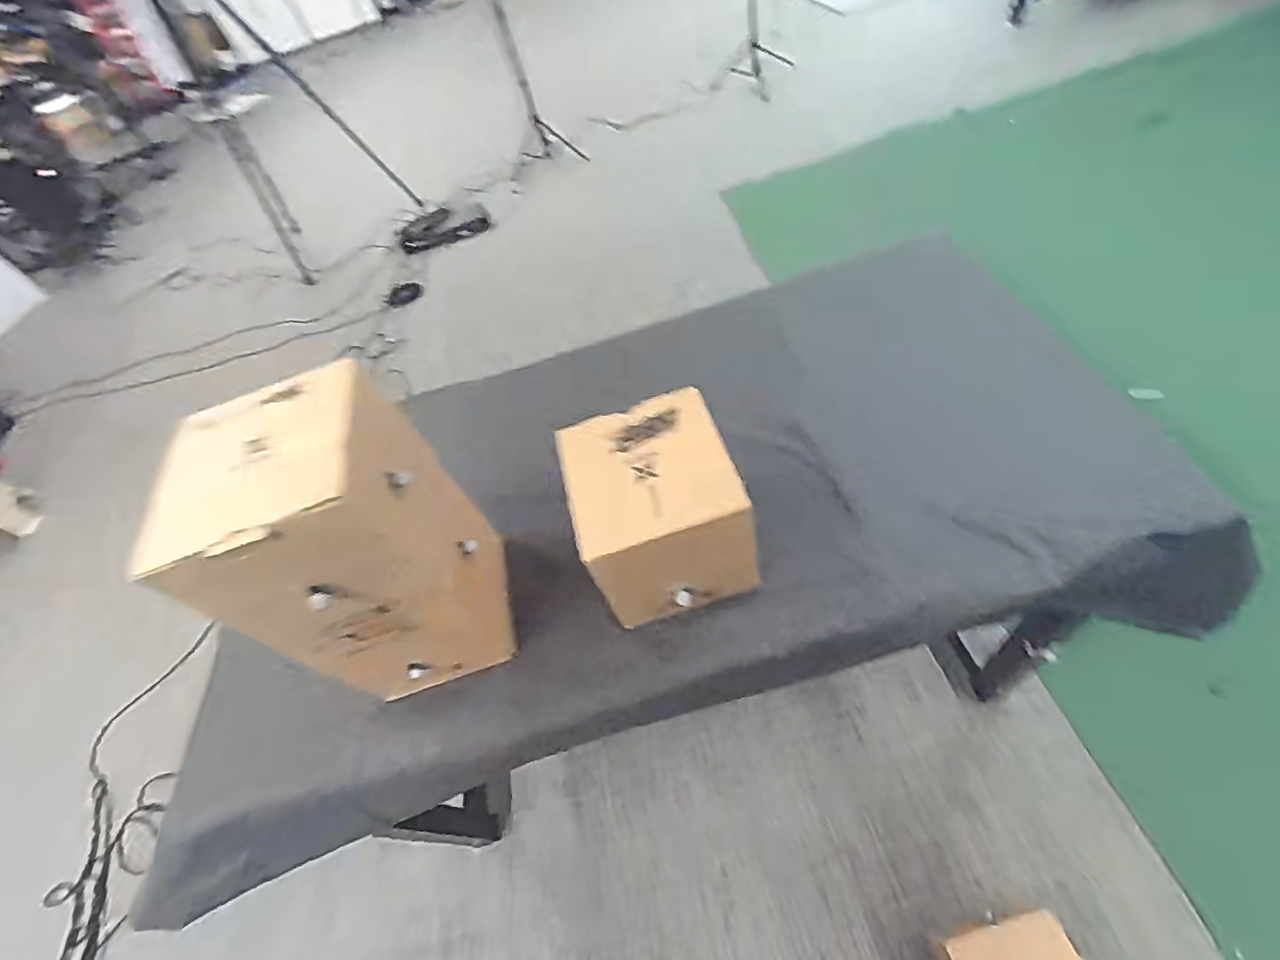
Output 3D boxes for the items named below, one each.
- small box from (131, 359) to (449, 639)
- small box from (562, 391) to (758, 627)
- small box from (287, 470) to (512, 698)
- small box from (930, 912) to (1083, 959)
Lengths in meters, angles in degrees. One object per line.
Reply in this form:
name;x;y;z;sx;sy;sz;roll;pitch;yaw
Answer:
small box;-0.291;0.028;0.496;0.168;0.176;0.179;-21;52;-1
small box;0.024;0.036;0.608;0.168;0.176;0.179;-19;51;2
small box;-0.261;0.124;0.626;0.168;0.176;0.179;-19;52;0
small box;0.579;0.785;0.824;0.179;0.176;0.168;-20;50;1
